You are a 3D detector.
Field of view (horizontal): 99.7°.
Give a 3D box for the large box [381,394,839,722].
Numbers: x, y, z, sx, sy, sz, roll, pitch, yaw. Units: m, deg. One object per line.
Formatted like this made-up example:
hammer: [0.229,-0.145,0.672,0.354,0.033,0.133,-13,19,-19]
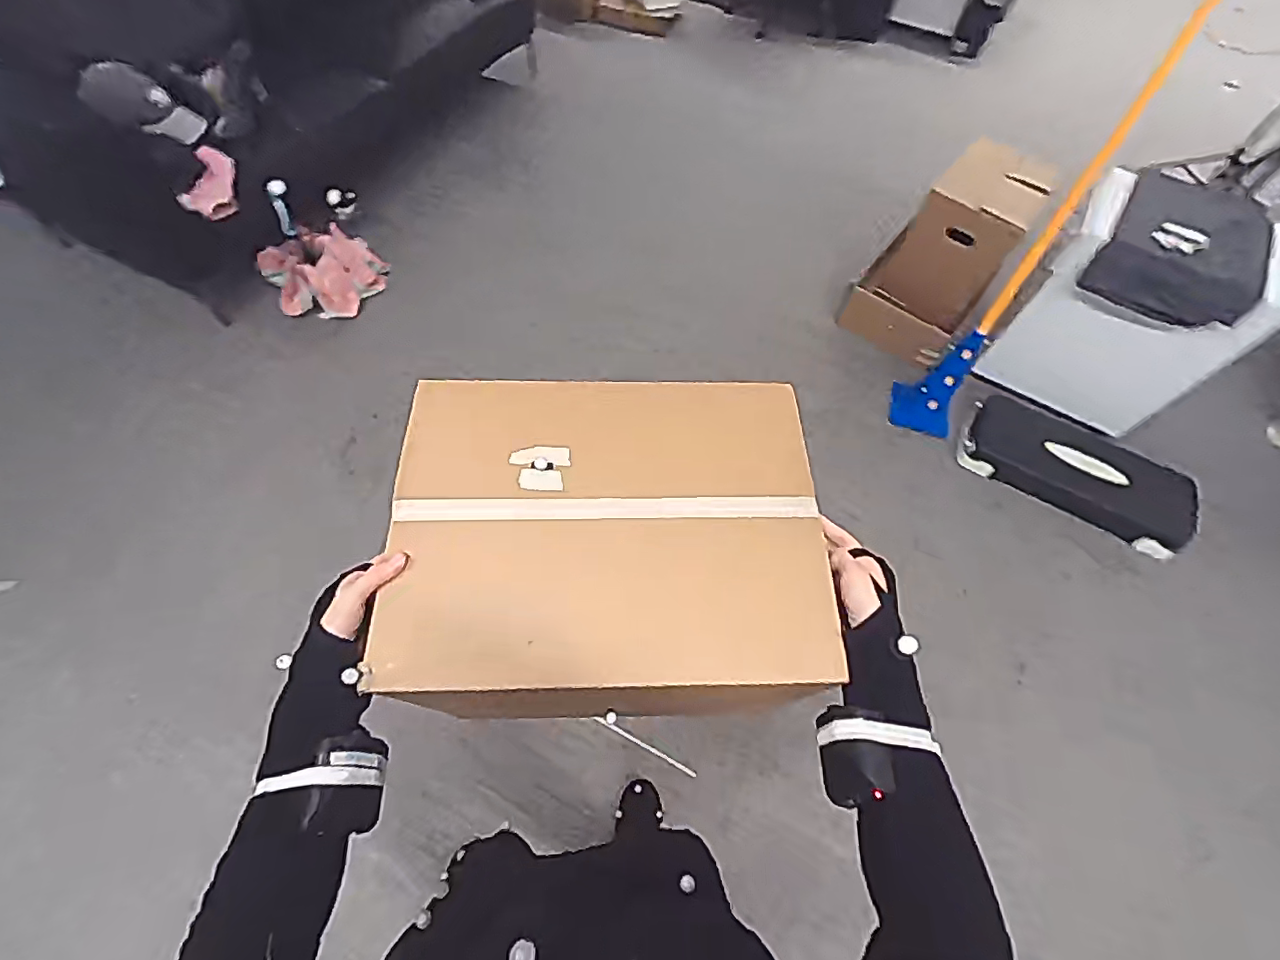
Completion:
large box: [-0.032,0.113,0.664,0.408,0.320,0.320,-1,61,-3]
